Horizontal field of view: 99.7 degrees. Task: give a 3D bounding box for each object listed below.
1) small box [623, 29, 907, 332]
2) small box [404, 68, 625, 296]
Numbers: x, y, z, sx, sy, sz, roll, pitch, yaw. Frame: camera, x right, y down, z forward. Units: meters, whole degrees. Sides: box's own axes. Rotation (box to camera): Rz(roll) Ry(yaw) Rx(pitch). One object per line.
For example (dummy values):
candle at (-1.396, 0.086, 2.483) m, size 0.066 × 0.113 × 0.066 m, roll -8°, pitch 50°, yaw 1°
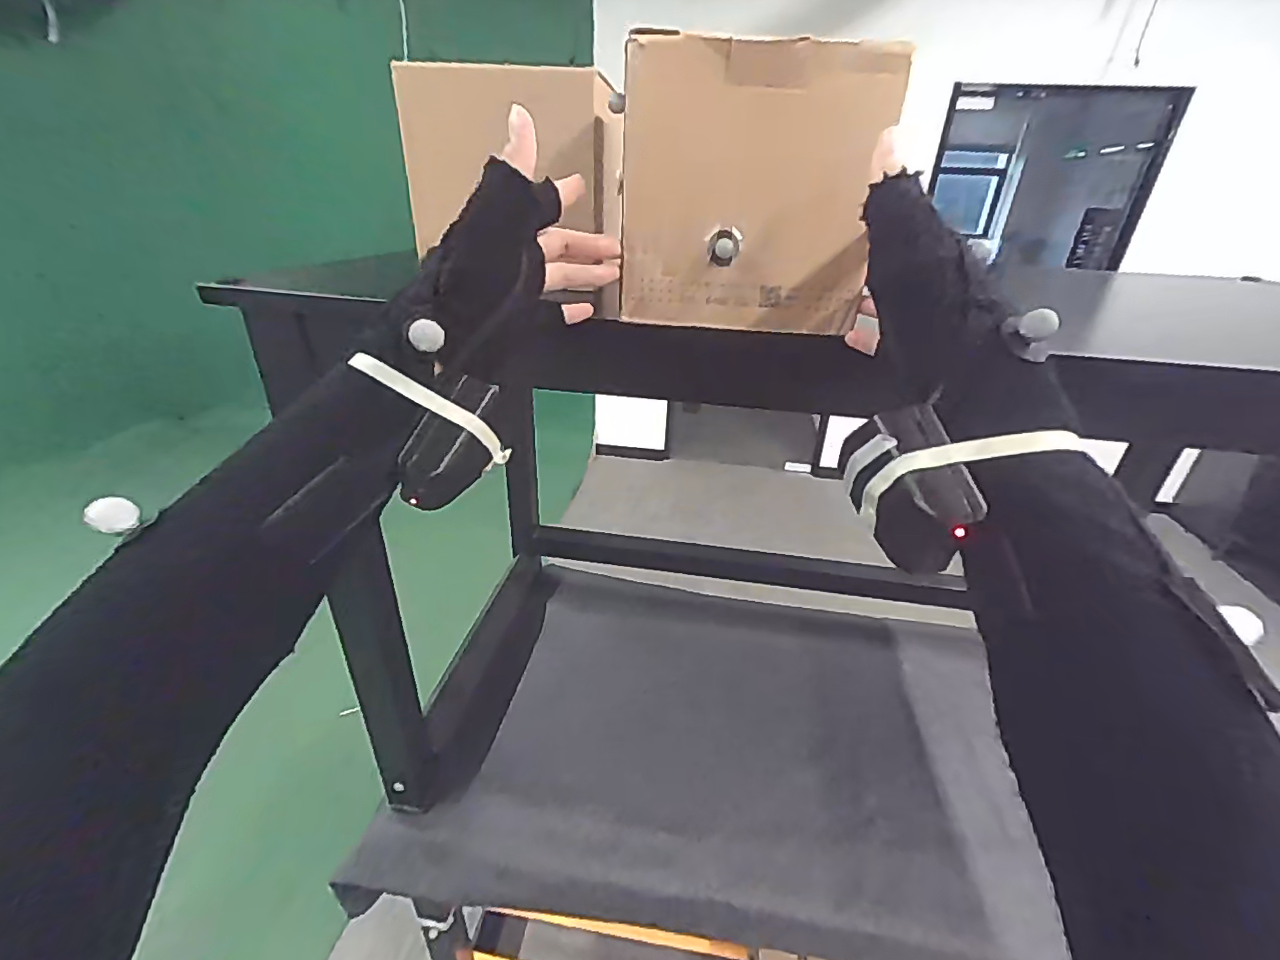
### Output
small box at (0.077, -0.222, 0.426) m, size 0.168 × 0.176 × 0.179 m, roll 4°, pitch 27°, yaw 3°
small box at (-0.107, -0.289, 0.541) m, size 0.168 × 0.176 × 0.179 m, roll 3°, pitch 28°, yaw 4°
